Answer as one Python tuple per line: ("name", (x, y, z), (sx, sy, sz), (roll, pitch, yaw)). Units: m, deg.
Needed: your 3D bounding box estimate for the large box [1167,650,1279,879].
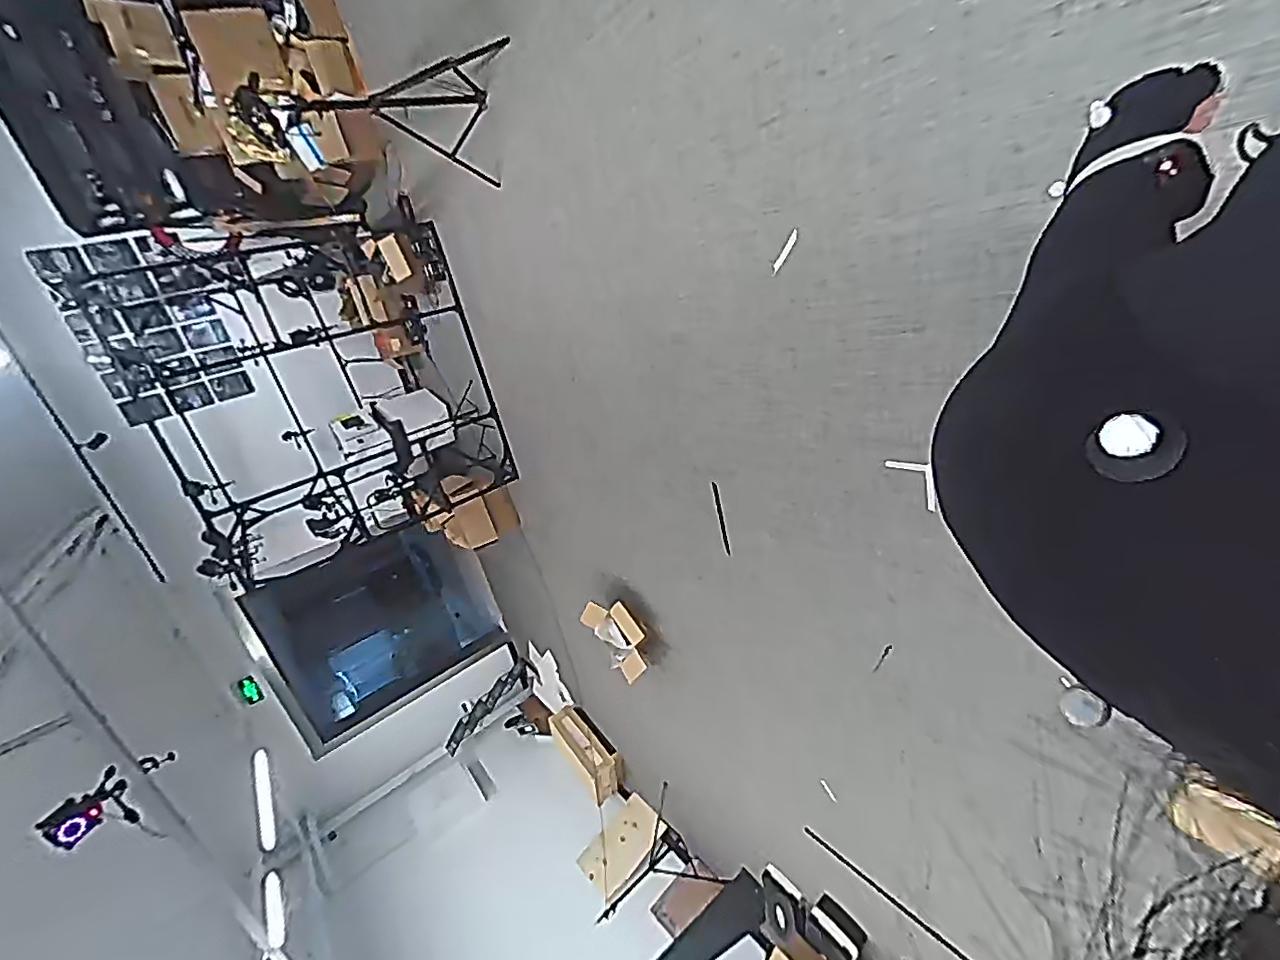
("large box", (1.403, 0.624, 1.086), (0.408, 0.320, 0.320), (25, 133, 46))
